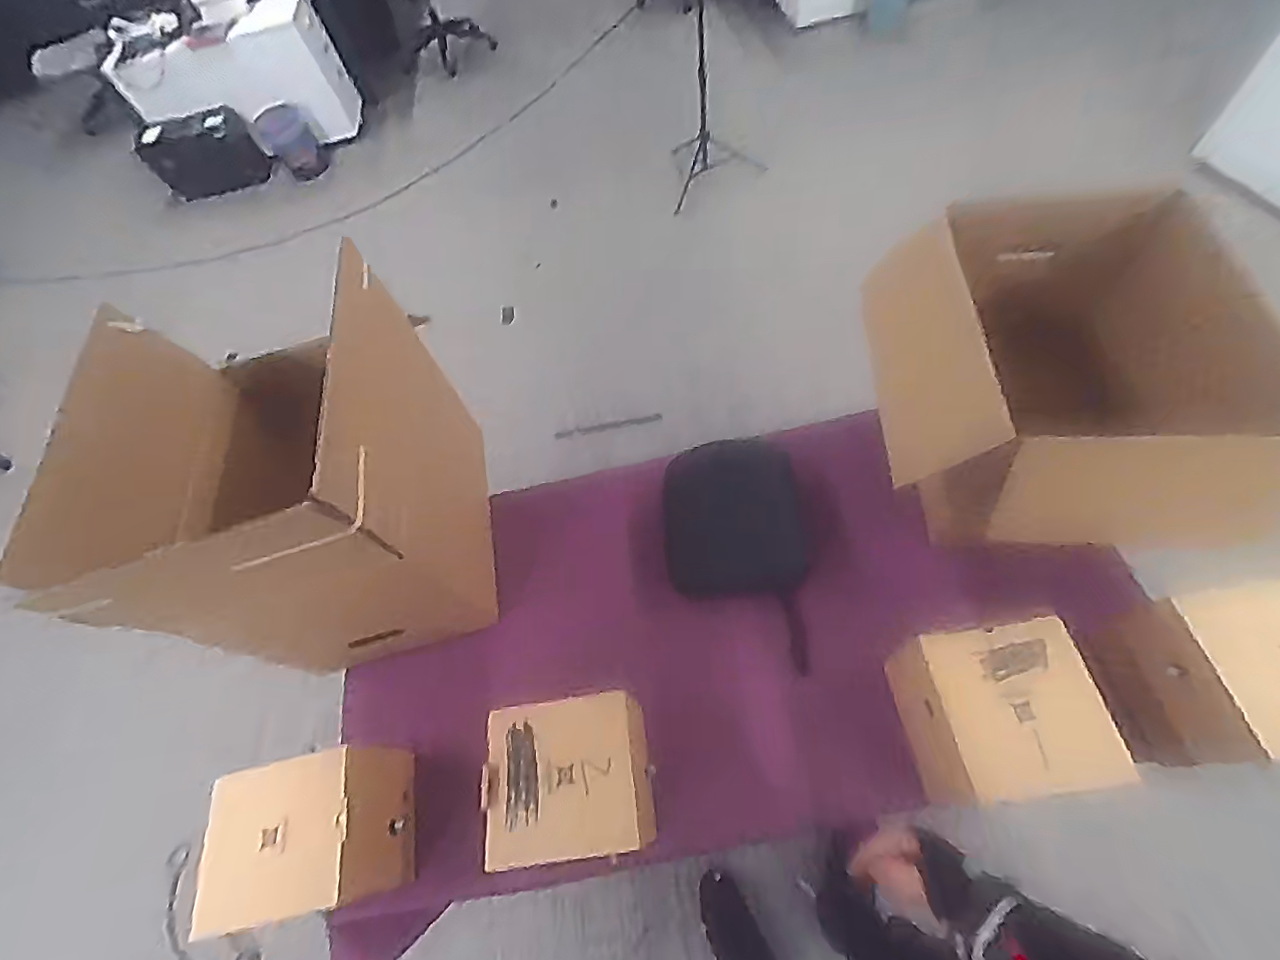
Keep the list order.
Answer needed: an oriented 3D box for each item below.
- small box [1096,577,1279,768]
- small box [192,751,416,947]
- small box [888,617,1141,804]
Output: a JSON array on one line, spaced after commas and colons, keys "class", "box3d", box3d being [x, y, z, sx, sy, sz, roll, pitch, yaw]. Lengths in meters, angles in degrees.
[{"class": "small box", "box3d": [0.708, 0.232, 0.643, 0.168, 0.176, 0.179, -10, 59, 5]}, {"class": "small box", "box3d": [-0.416, 0.468, 0.703, 0.179, 0.176, 0.168, -15, 59, -1]}, {"class": "small box", "box3d": [0.429, 0.287, 0.662, 0.168, 0.176, 0.179, -11, 60, 4]}]
